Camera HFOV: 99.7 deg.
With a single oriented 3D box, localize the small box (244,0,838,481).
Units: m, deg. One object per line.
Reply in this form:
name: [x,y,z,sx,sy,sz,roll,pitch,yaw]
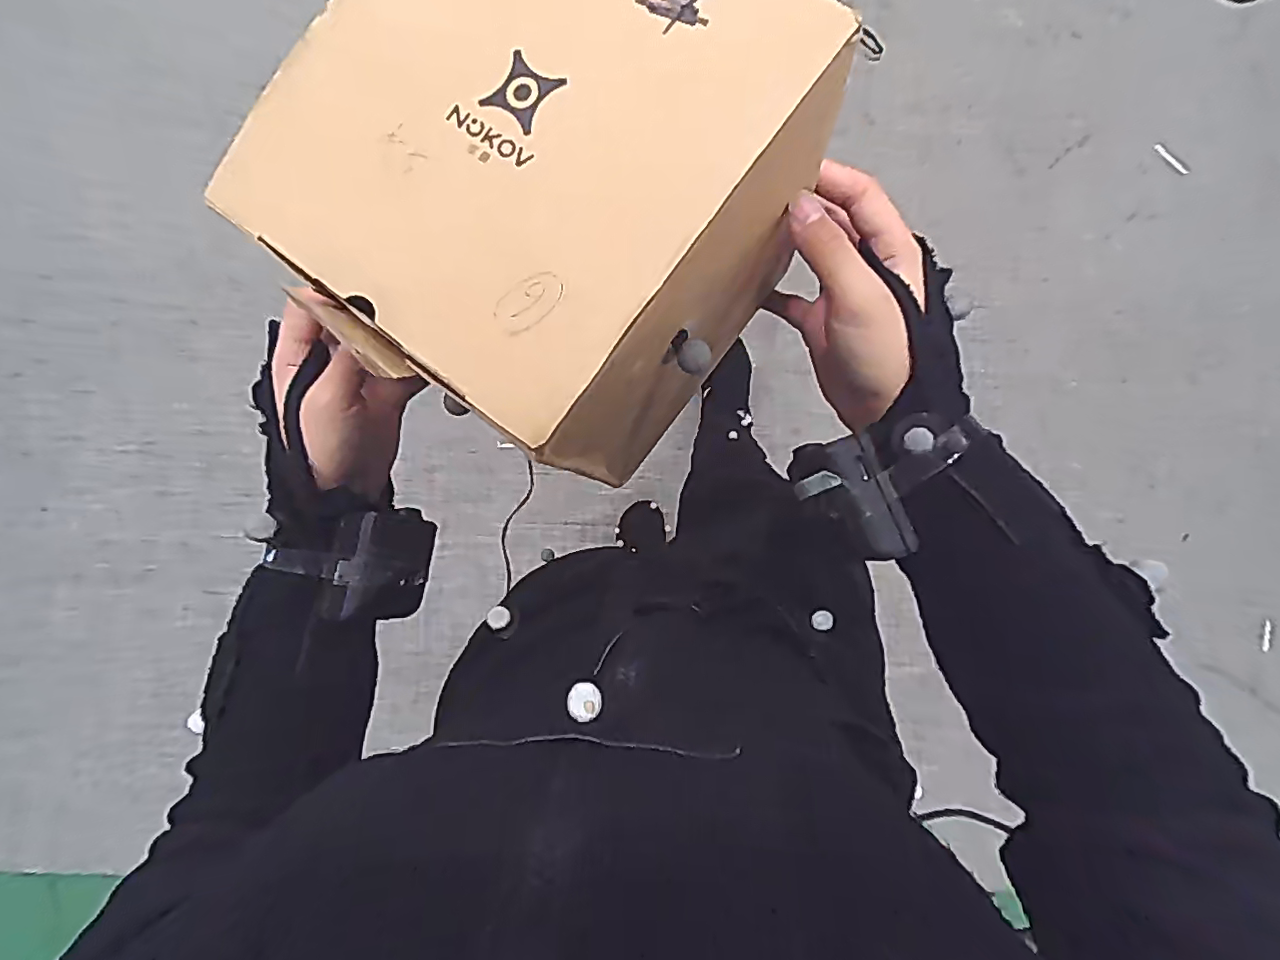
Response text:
small box: [-0.032,-0.114,0.277,0.168,0.176,0.179,37,92,9]
